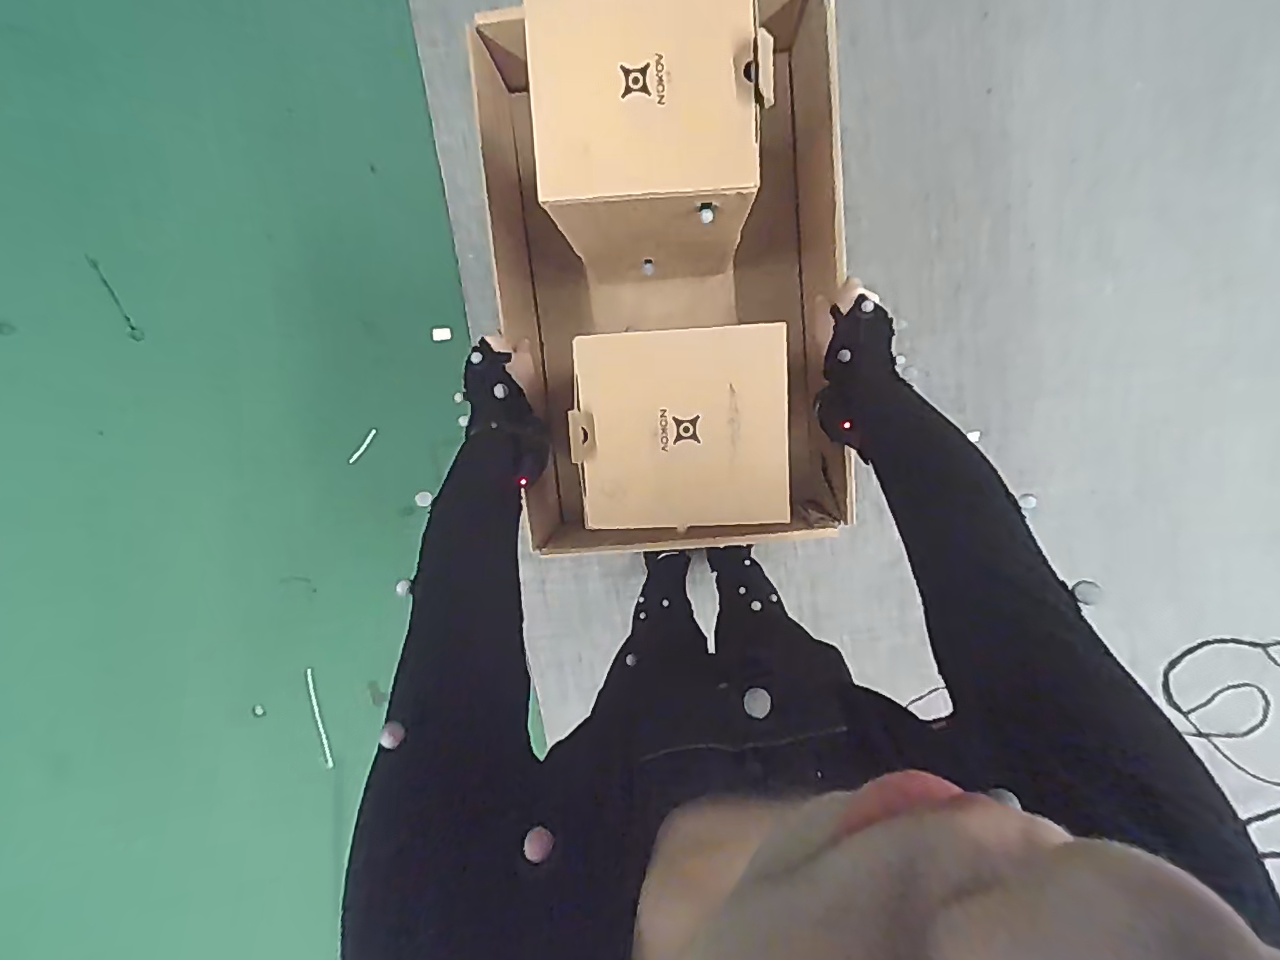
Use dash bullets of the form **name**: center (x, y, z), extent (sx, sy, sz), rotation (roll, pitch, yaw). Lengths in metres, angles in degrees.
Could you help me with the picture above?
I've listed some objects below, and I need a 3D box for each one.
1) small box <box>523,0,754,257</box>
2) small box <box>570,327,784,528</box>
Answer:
- **small box**: center (0.004, -0.313, 0.495), extent (0.179, 0.176, 0.168), rotation (-3, 99, 3)
- **small box**: center (0.038, -0.053, 0.533), extent (0.179, 0.176, 0.168), rotation (-3, 100, 4)
